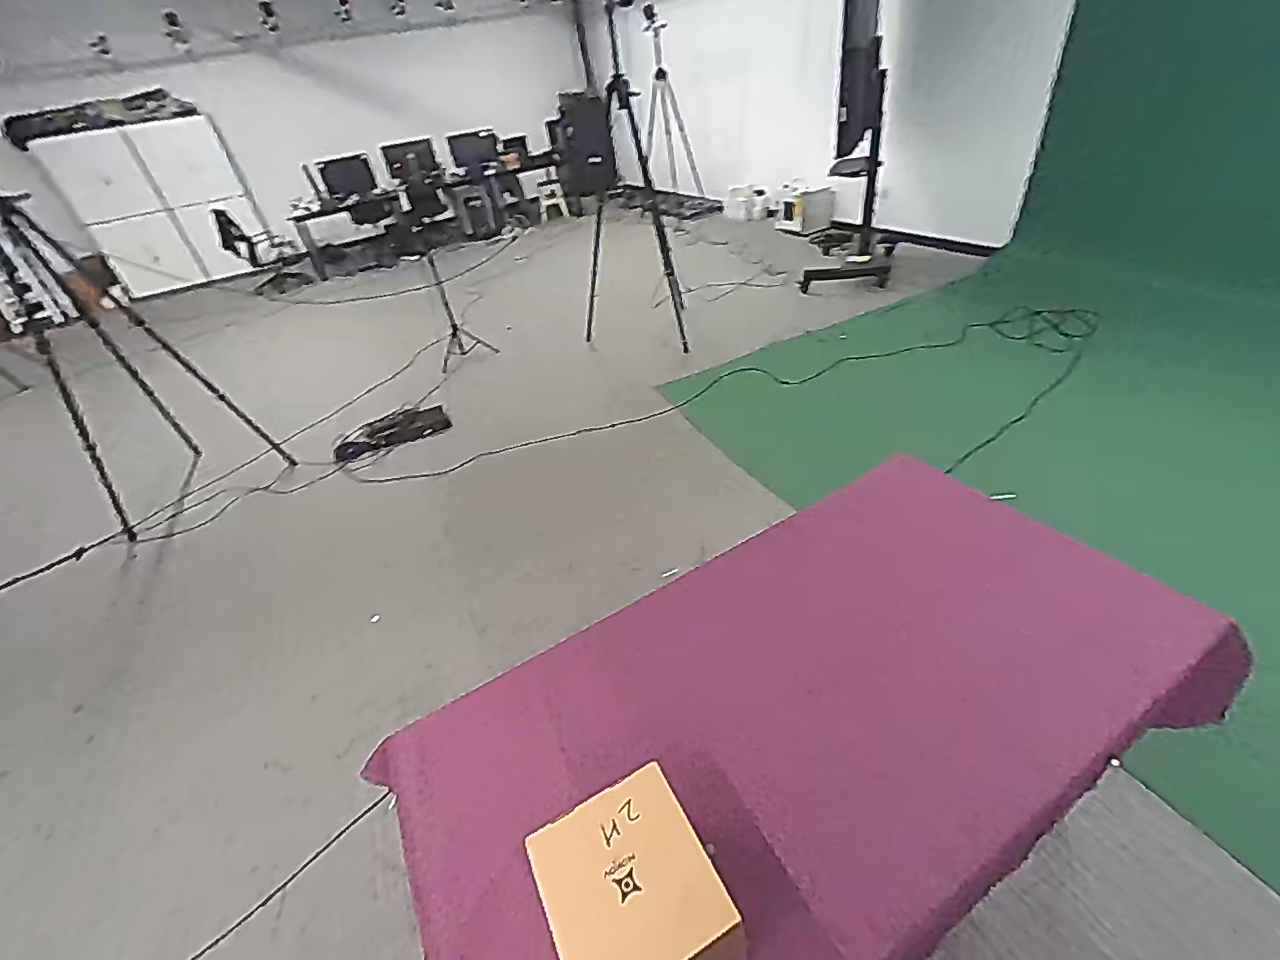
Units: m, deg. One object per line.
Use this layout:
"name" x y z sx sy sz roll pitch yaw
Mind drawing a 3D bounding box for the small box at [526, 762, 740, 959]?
"small box" -0.003 0.462 0.591 0.168 0.176 0.179 -23 38 -17
